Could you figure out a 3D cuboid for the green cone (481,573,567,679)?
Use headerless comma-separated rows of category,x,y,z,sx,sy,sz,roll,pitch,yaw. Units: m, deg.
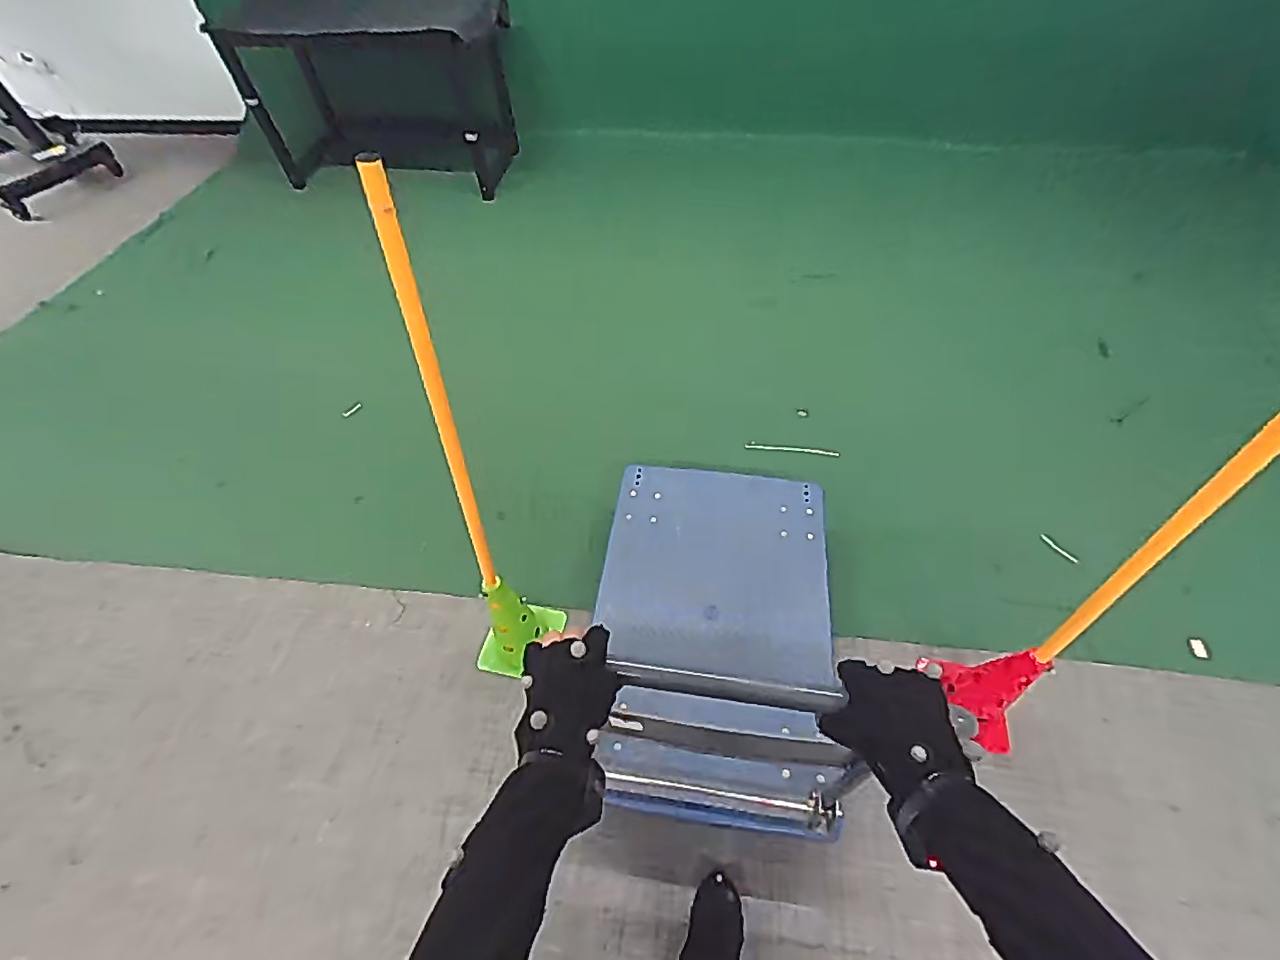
green cone,-0.325,0.331,1.353,0.202,0.368,0.200,8,53,9
